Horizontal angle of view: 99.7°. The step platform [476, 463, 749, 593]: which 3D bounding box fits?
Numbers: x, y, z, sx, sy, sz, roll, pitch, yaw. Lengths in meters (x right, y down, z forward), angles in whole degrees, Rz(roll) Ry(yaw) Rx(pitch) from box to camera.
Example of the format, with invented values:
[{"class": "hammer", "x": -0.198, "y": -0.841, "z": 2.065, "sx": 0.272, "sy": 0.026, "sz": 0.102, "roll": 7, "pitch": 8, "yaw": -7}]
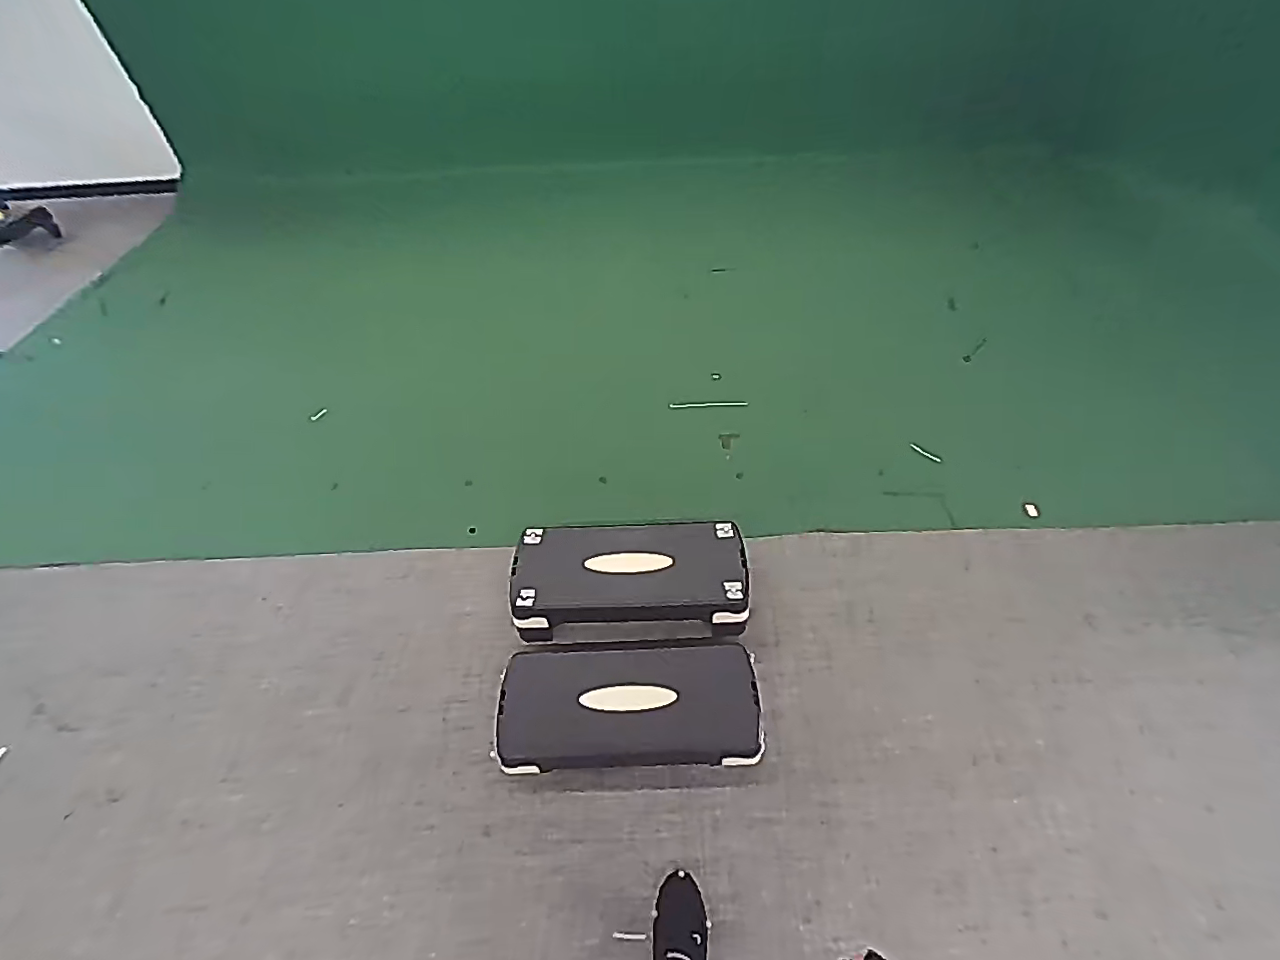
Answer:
[{"class": "step platform", "x": -0.065, "y": 0.130, "z": 1.439, "sx": 0.684, "sy": 0.204, "sz": 0.286, "roll": -3, "pitch": 51, "yaw": 1}]
